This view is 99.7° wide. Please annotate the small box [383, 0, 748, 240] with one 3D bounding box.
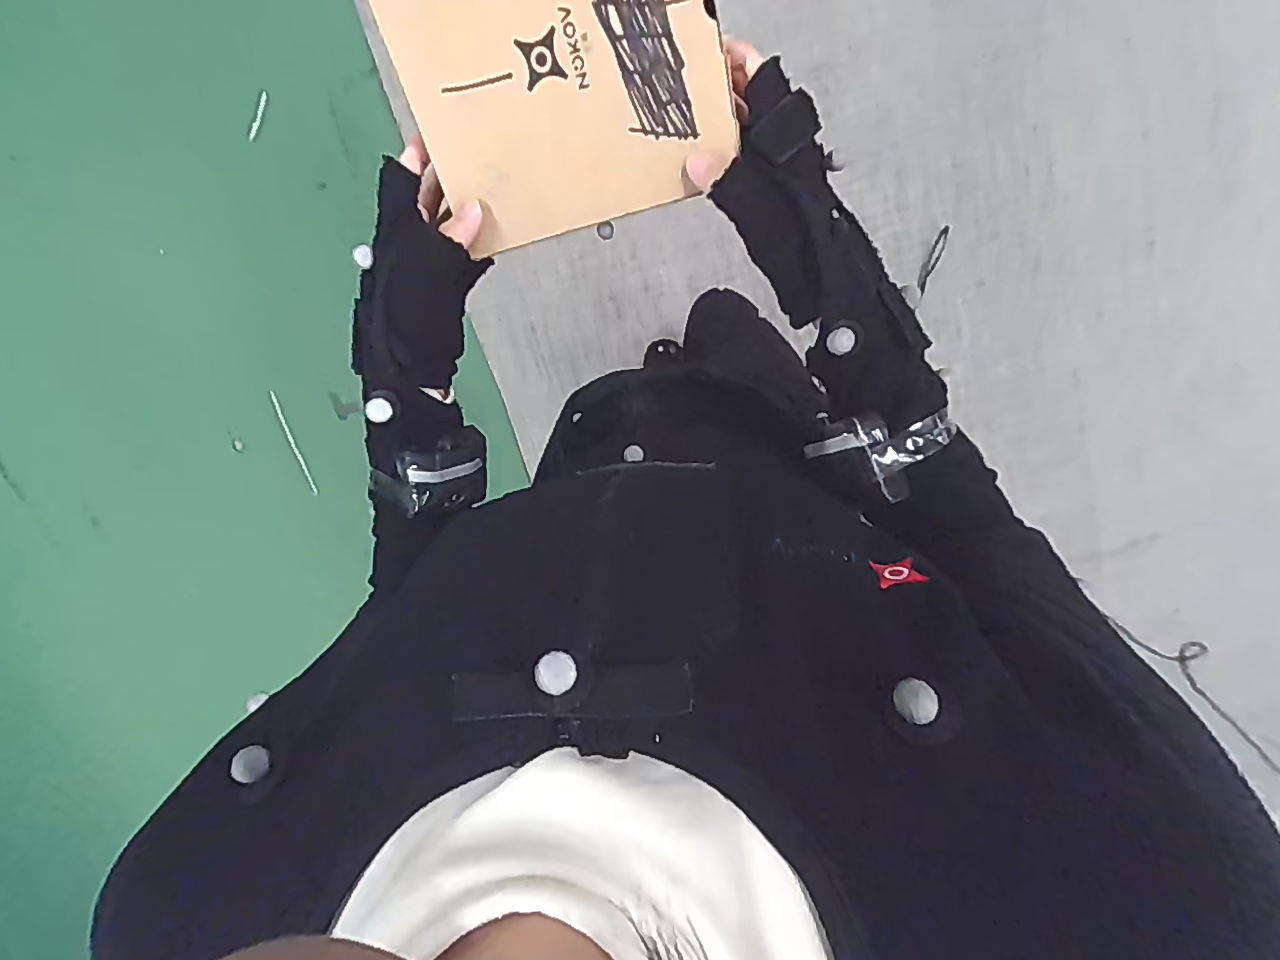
[{"bbox_3d":[-0.037,-0.275,0.353,0.179,0.176,0.168,-11,120,11],"label":"small box"}]
